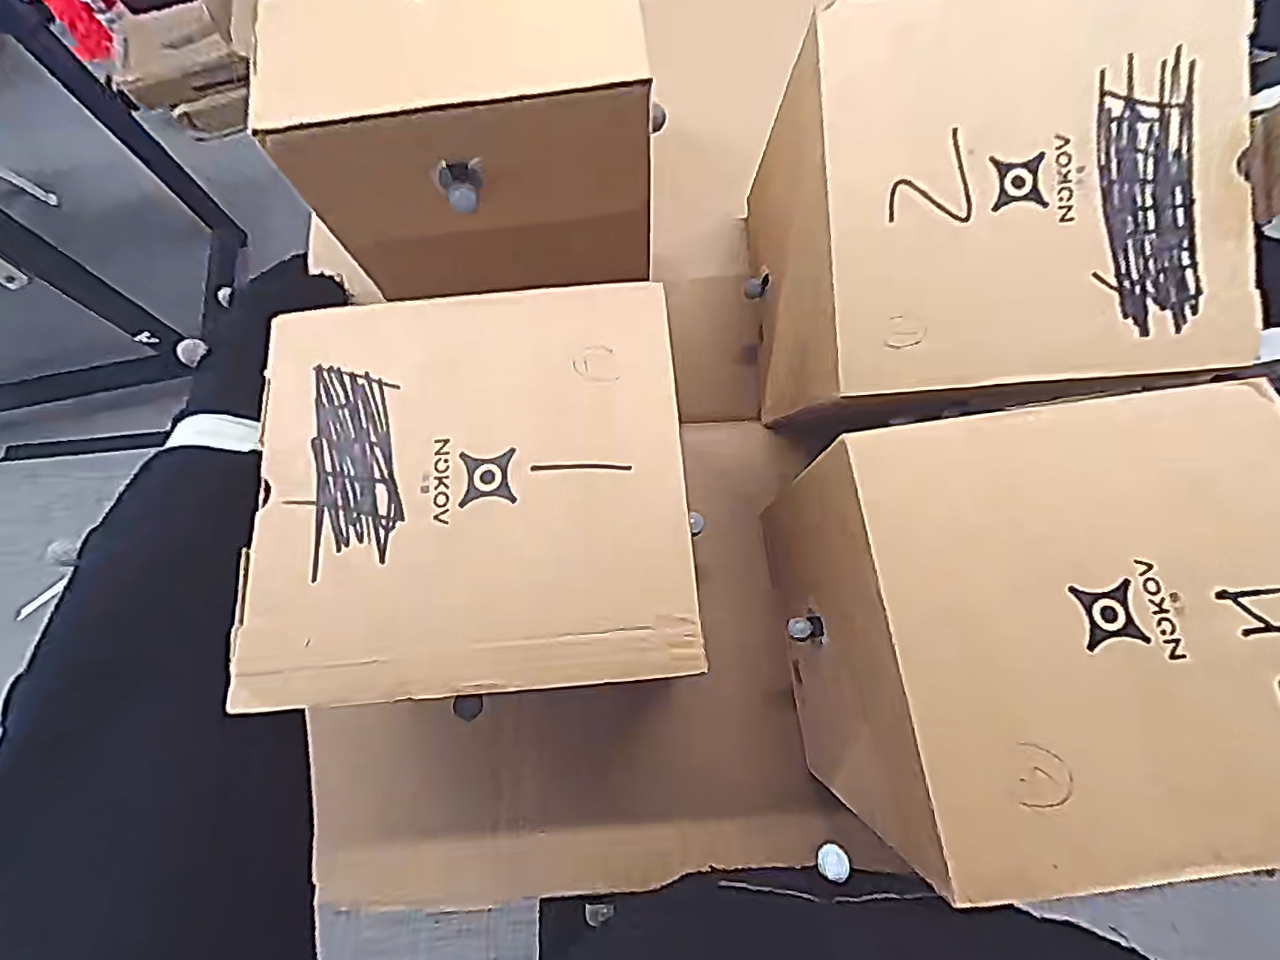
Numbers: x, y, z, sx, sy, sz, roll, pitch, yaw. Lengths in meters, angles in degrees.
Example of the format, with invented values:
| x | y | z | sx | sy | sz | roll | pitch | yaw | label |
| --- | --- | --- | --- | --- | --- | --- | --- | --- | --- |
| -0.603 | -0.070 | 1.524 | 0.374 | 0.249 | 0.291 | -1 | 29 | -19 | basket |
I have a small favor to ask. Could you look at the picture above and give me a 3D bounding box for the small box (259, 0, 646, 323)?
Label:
| x | y | z | sx | sy | sz | roll | pitch | yaw | label |
| --- | --- | --- | --- | --- | --- | --- | --- | --- | --- |
| -0.091 | -0.219 | 0.336 | 0.179 | 0.176 | 0.168 | -8 | 76 | 1 | small box |
